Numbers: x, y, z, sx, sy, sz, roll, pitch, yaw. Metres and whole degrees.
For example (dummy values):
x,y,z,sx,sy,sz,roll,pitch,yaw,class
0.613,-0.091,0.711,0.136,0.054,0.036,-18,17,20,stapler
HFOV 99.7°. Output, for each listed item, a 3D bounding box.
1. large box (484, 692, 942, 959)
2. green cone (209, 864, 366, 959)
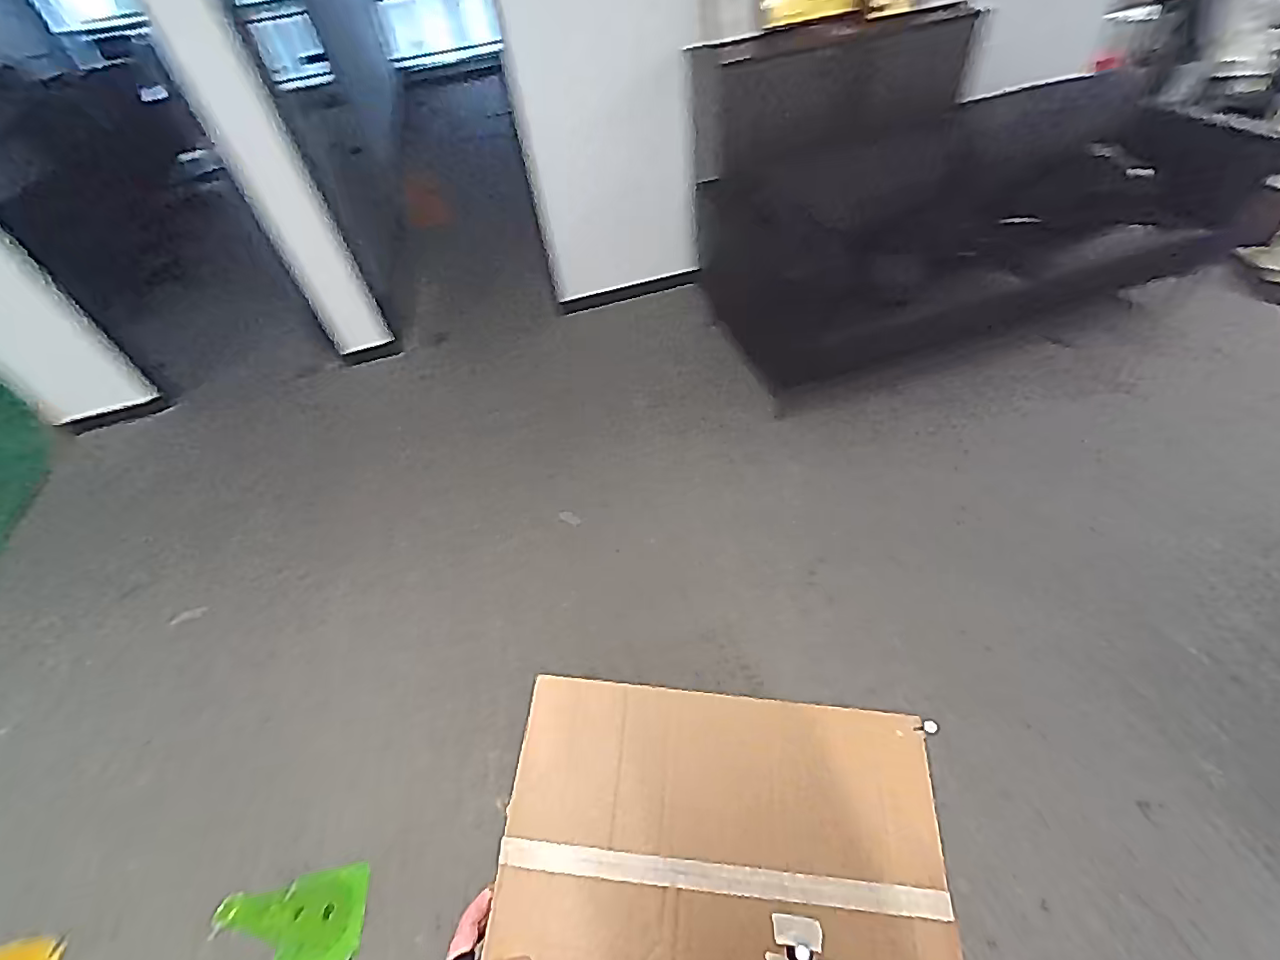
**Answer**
x,y,z,sx,sy,sz,roll,pitch,yaw,class
0.063,0.447,0.619,0.408,0.320,0.320,4,58,1,large box
-0.799,0.956,1.191,0.202,0.368,0.200,-12,47,-1,green cone
